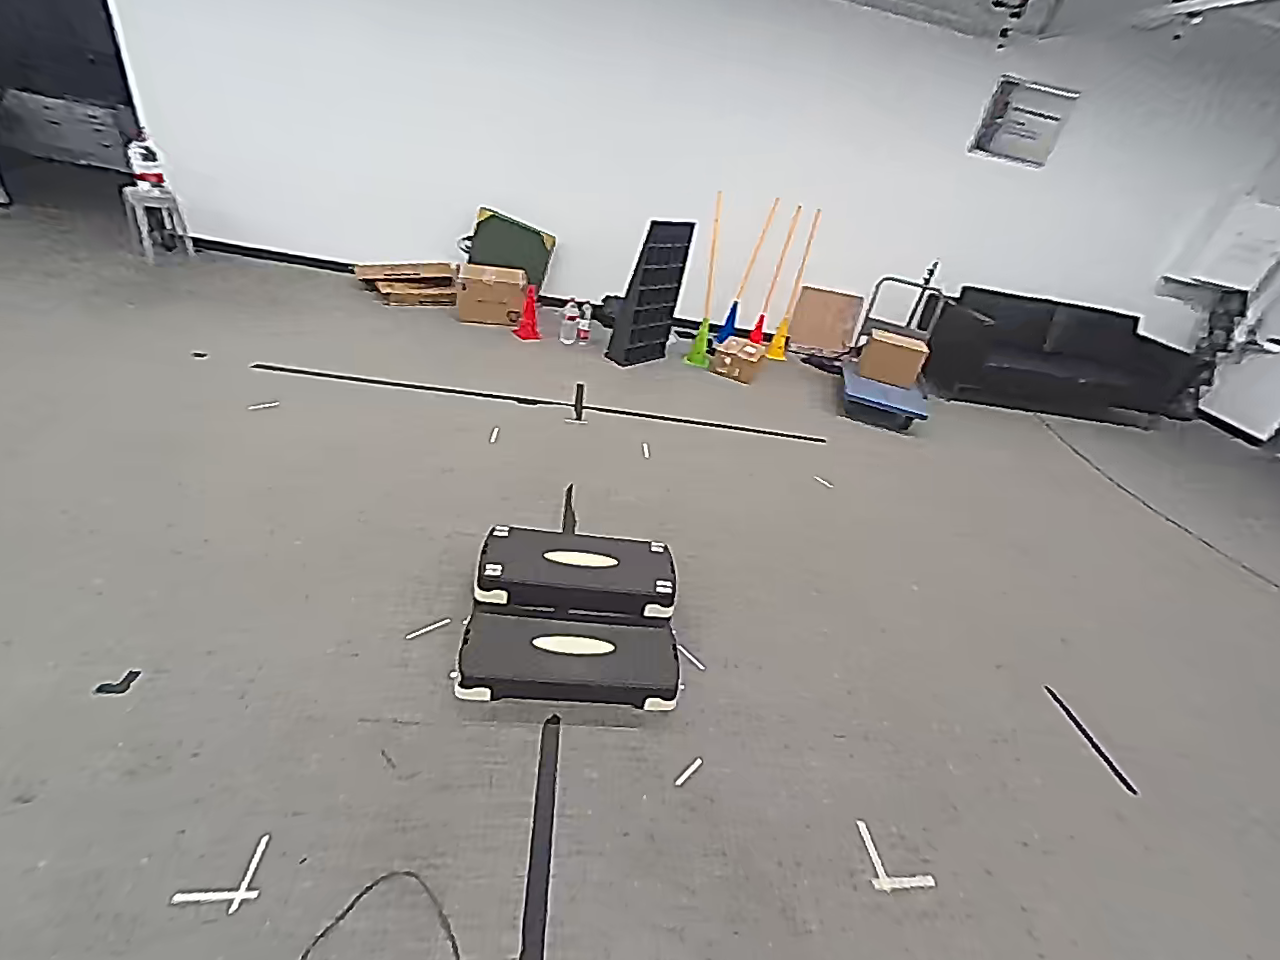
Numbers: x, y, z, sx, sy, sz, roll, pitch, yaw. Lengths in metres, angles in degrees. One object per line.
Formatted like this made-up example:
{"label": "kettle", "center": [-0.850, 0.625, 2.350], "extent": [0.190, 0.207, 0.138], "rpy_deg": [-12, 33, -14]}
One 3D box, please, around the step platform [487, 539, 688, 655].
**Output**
{"label": "step platform", "center": [-0.175, 0.404, 1.899], "extent": [0.684, 0.204, 0.286], "rpy_deg": [10, 31, -5]}
